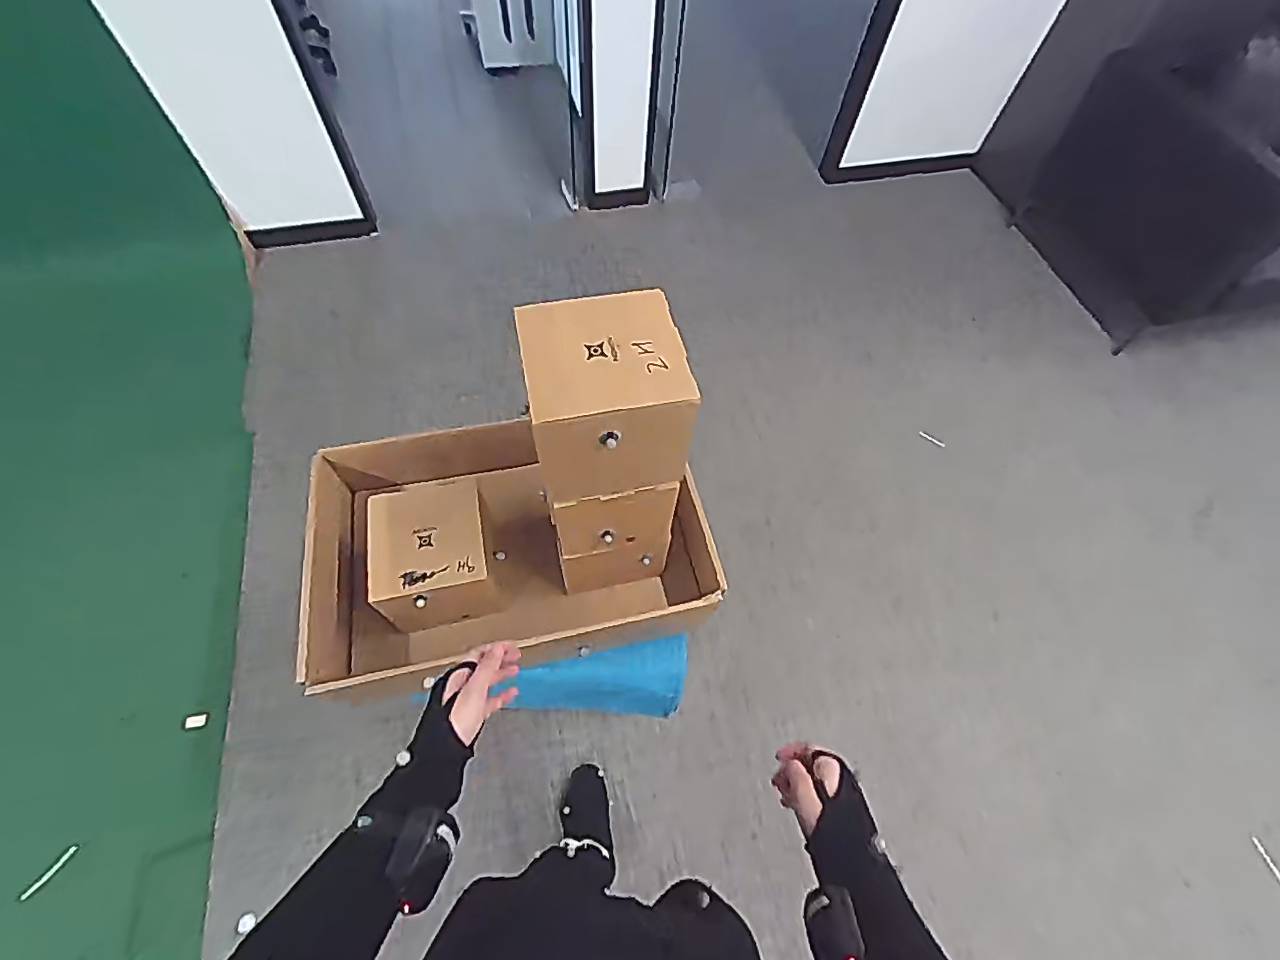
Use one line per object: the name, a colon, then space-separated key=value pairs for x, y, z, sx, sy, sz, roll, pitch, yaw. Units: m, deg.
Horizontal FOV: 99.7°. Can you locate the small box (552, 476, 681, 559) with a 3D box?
small box: x=-0.048 y=-0.007 z=0.789 sx=0.168 sy=0.176 sz=0.179 roll=-10 pitch=60 yaw=-9

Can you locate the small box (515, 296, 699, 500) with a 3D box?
small box: x=-0.042 y=-0.091 z=0.647 sx=0.179 sy=0.176 sz=0.168 roll=-9 pitch=61 yaw=-9
